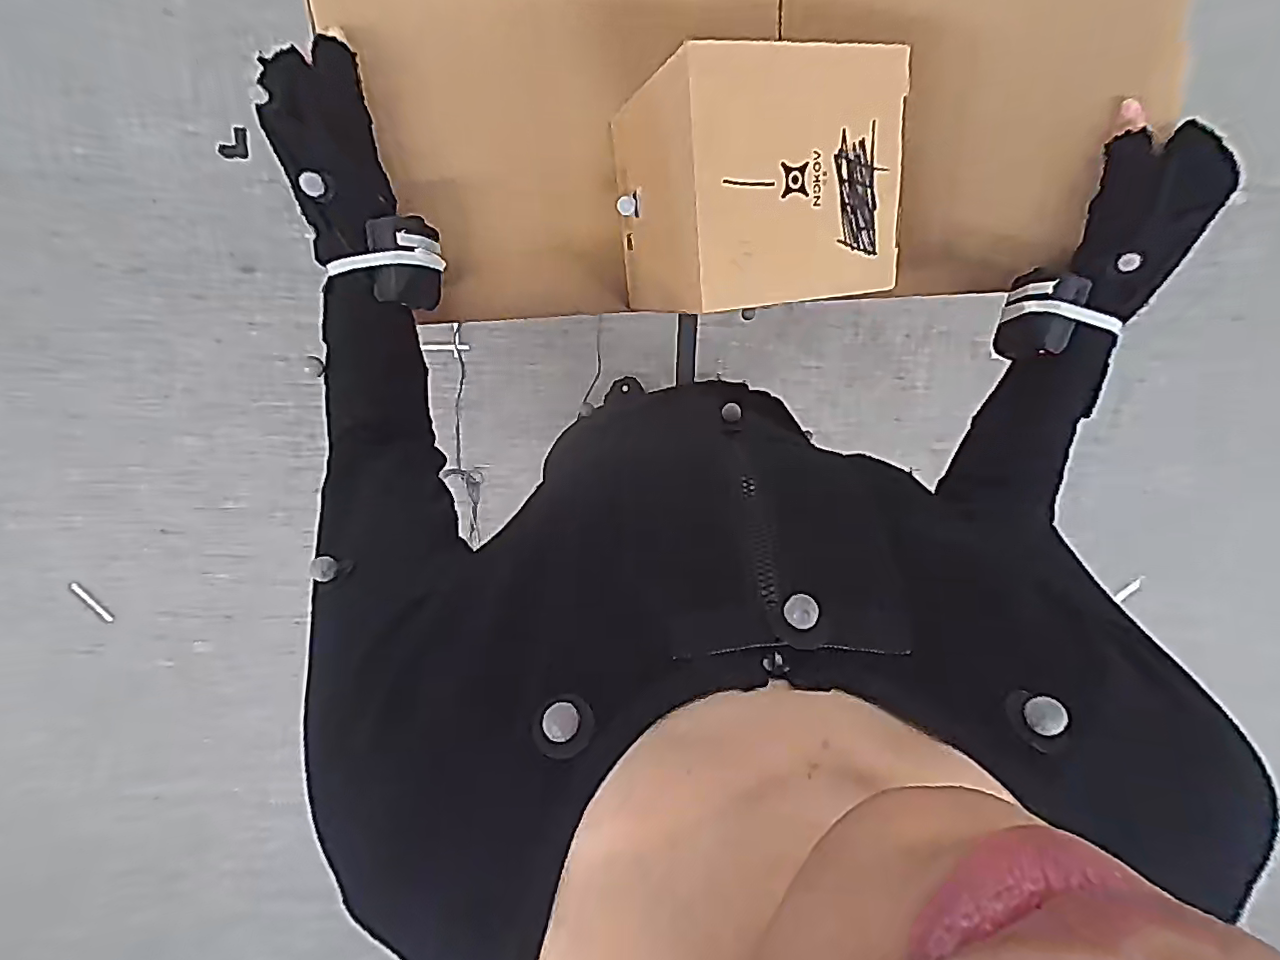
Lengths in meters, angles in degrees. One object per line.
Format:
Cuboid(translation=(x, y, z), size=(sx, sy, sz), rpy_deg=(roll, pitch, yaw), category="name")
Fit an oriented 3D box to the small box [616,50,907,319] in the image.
Cuboid(translation=(0.092, -0.235, 0.463), size=(0.179, 0.176, 0.168), rpy_deg=(-12, 111, -16), category="small box")
